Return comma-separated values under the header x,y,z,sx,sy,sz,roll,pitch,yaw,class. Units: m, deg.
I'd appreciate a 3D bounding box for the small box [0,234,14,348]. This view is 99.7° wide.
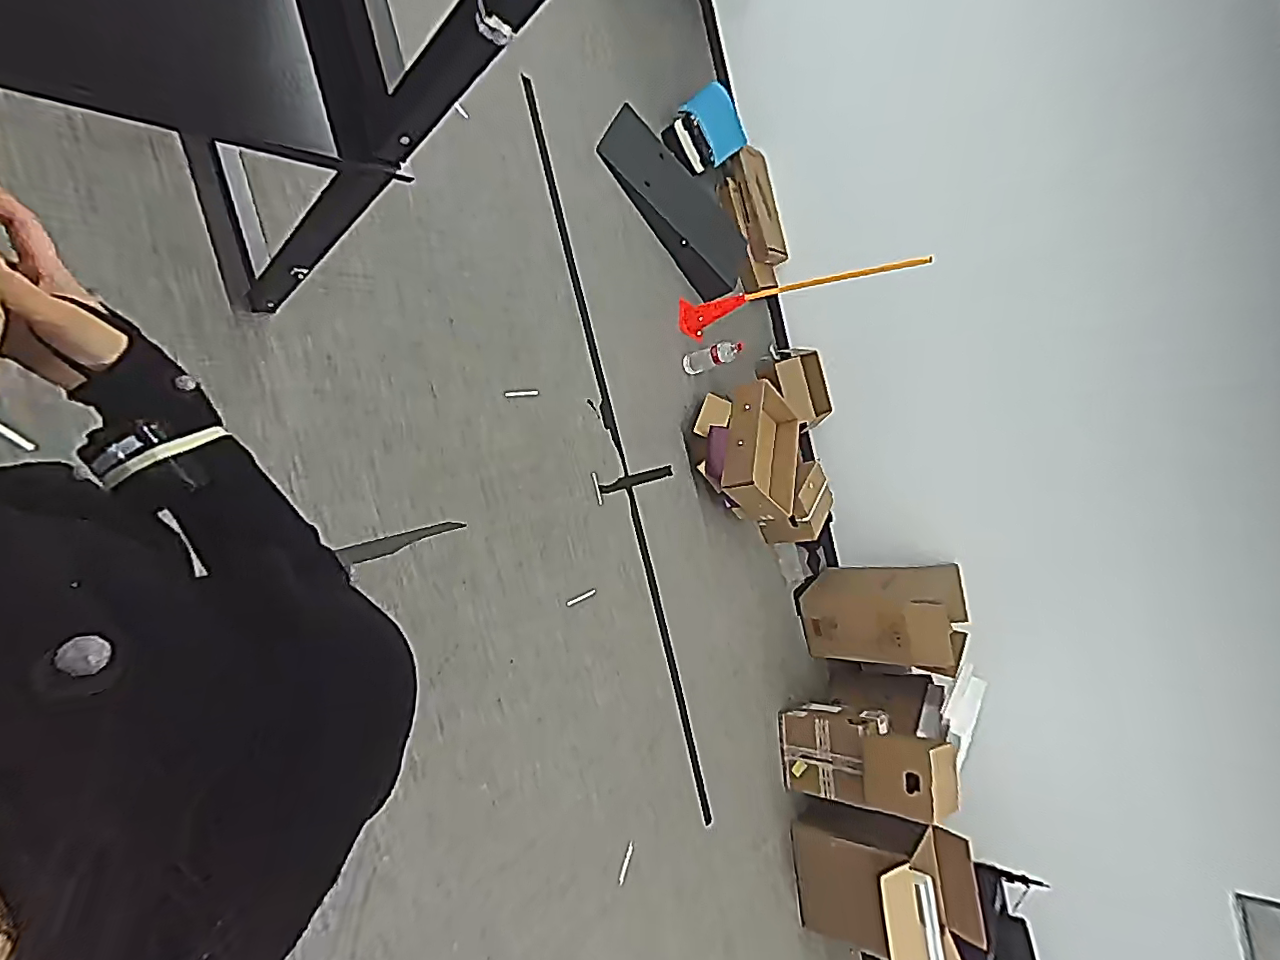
x,y,z,sx,sy,sz,roll,pitch,yaw,class
-0.436,-0.148,0.250,0.168,0.176,0.179,-12,95,-52,small box
